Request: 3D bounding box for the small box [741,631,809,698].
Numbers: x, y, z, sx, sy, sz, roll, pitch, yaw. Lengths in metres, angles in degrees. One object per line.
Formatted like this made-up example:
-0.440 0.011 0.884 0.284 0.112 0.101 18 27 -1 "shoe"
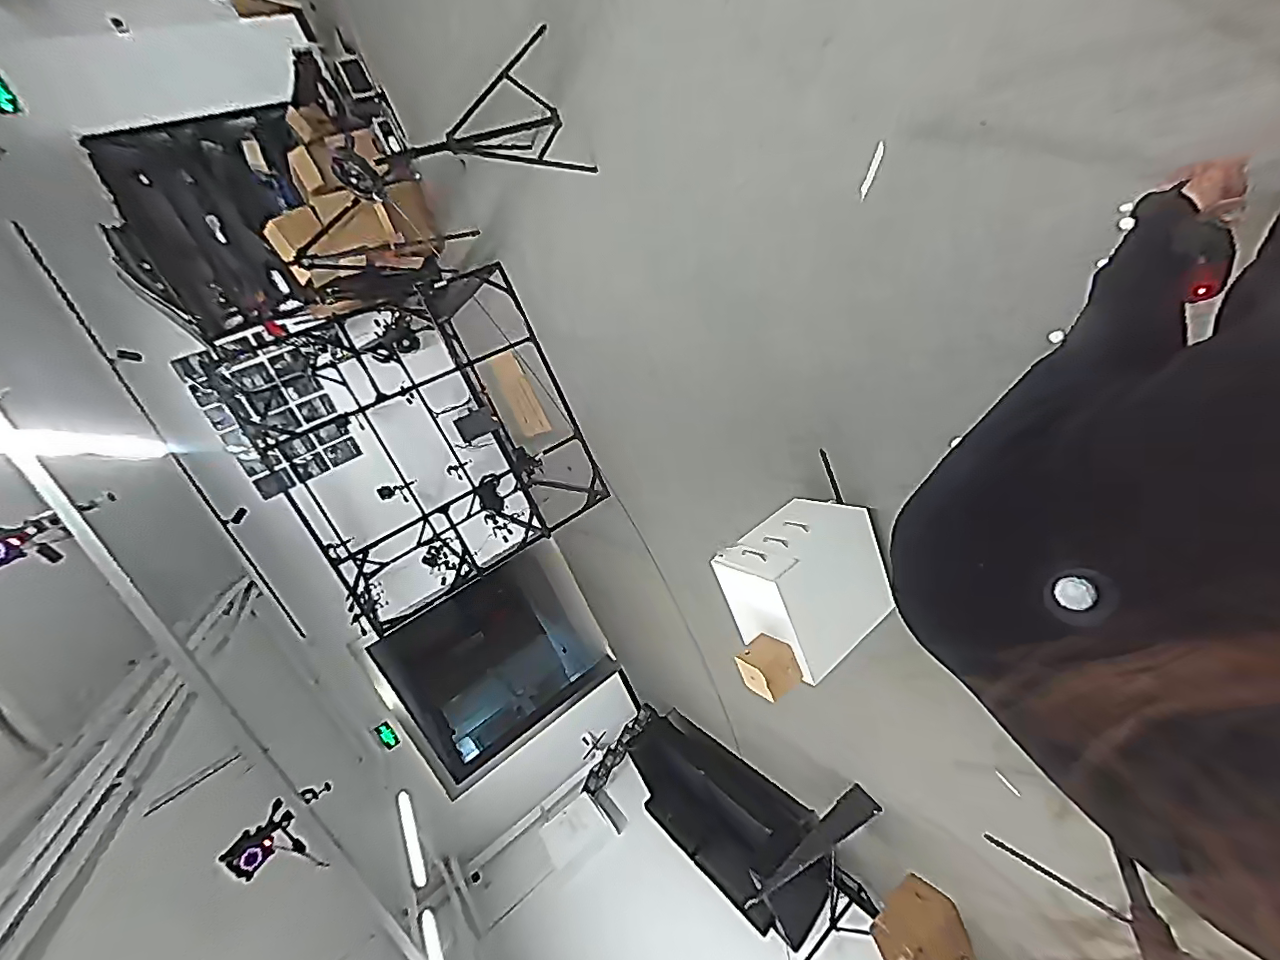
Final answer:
0.552 0.743 2.206 0.179 0.176 0.168 8 126 62 "small box"
